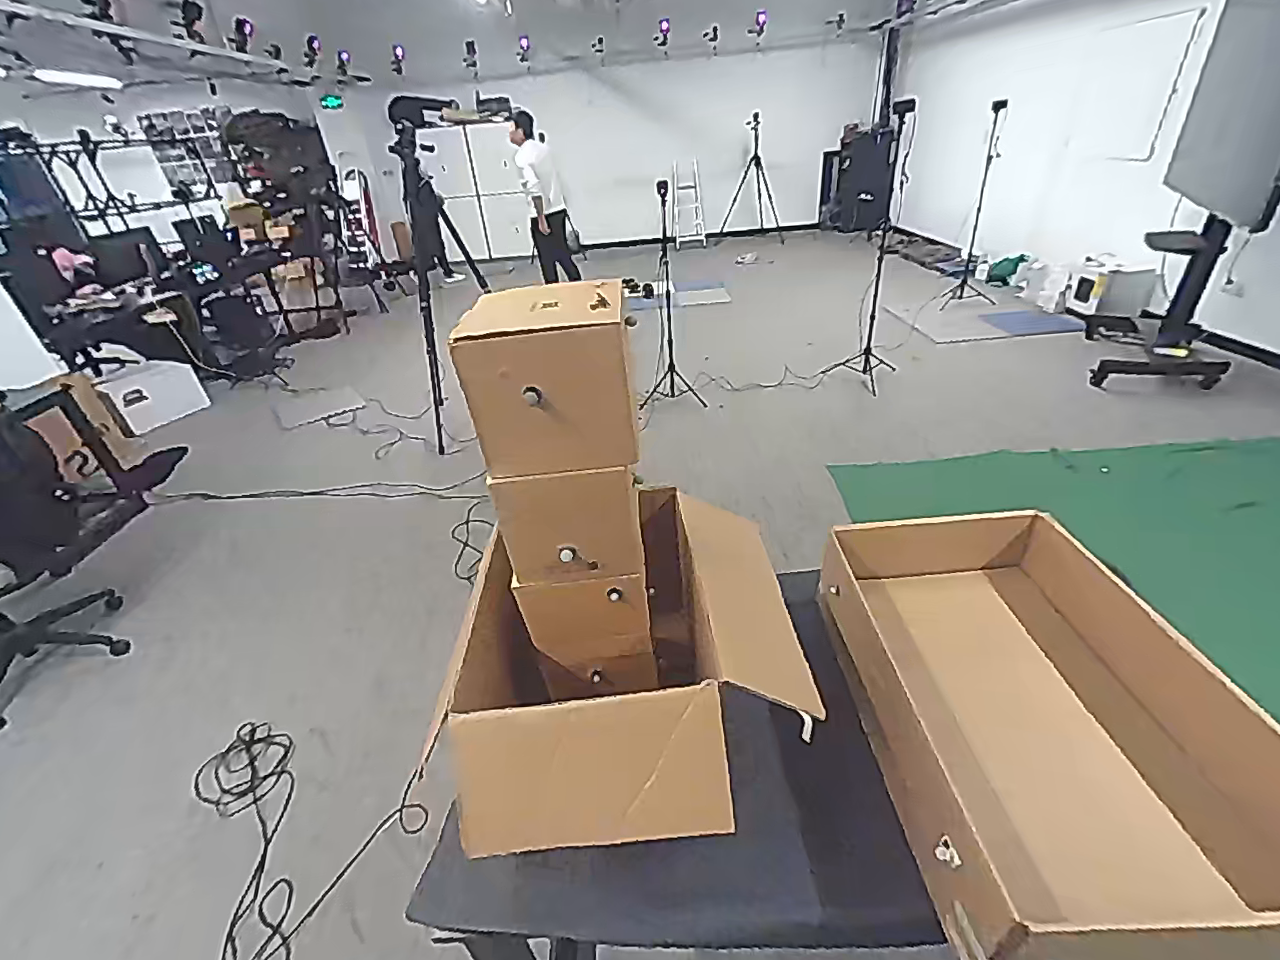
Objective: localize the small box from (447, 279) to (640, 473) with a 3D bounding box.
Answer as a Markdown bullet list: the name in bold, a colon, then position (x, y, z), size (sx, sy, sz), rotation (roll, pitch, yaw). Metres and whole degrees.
- **small box**: position (-0.097, -0.121, 0.638), size (0.179, 0.176, 0.168), rotation (-6, 36, 2)

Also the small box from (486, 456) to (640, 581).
- **small box**: position (-0.091, 0.013, 0.733), size (0.168, 0.176, 0.179), rotation (-6, 36, 2)
